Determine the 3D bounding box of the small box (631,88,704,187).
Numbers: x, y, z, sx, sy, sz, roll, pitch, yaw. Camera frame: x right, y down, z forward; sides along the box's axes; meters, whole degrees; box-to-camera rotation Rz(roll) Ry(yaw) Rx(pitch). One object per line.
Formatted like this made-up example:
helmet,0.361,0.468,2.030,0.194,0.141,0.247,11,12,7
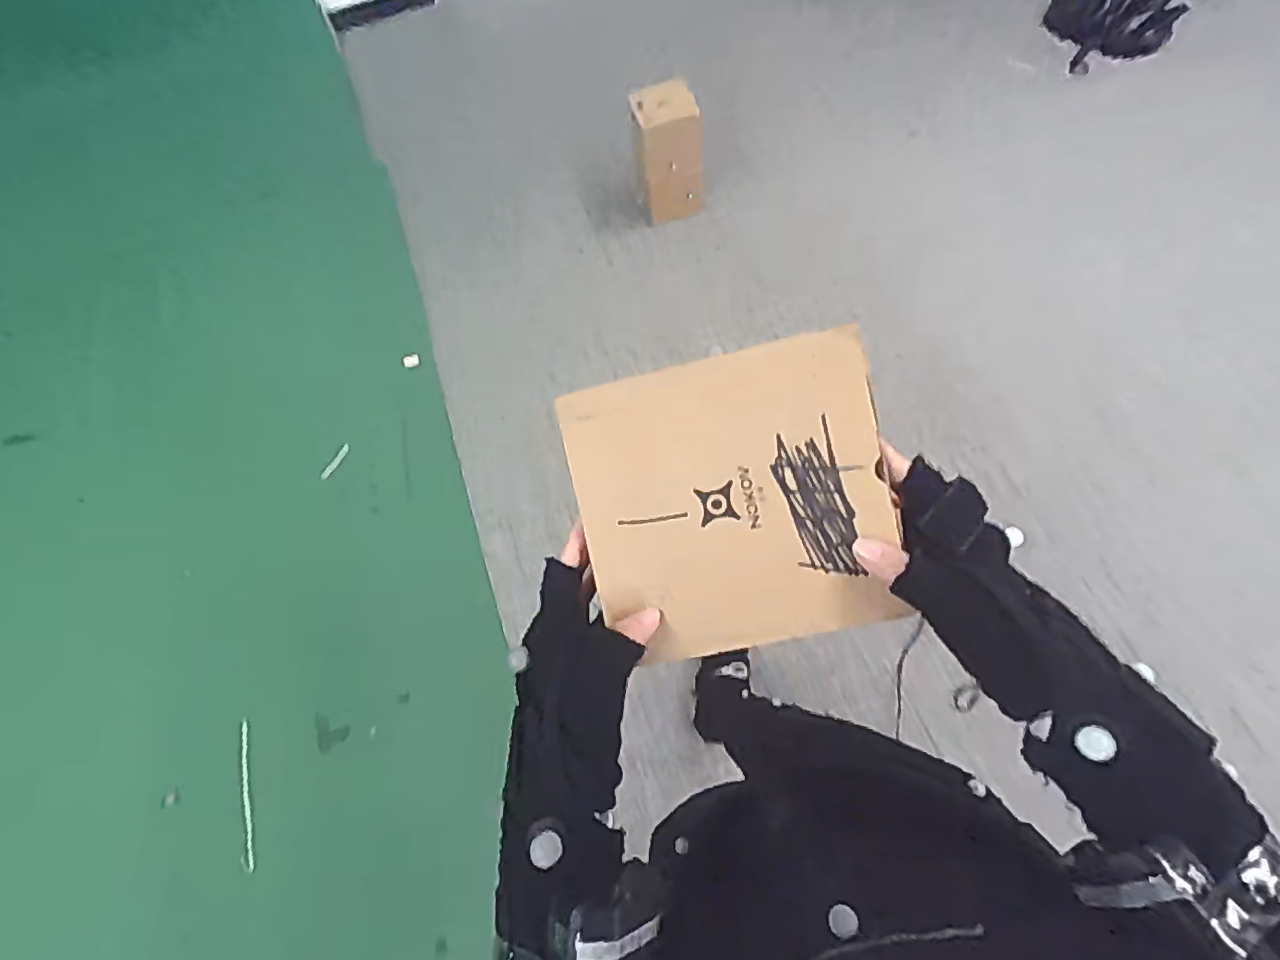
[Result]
small box,0.083,-1.023,1.623,0.179,0.176,0.168,-17,67,-2

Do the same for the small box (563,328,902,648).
small box,0.059,0.004,0.390,0.179,0.176,0.168,-10,90,6
